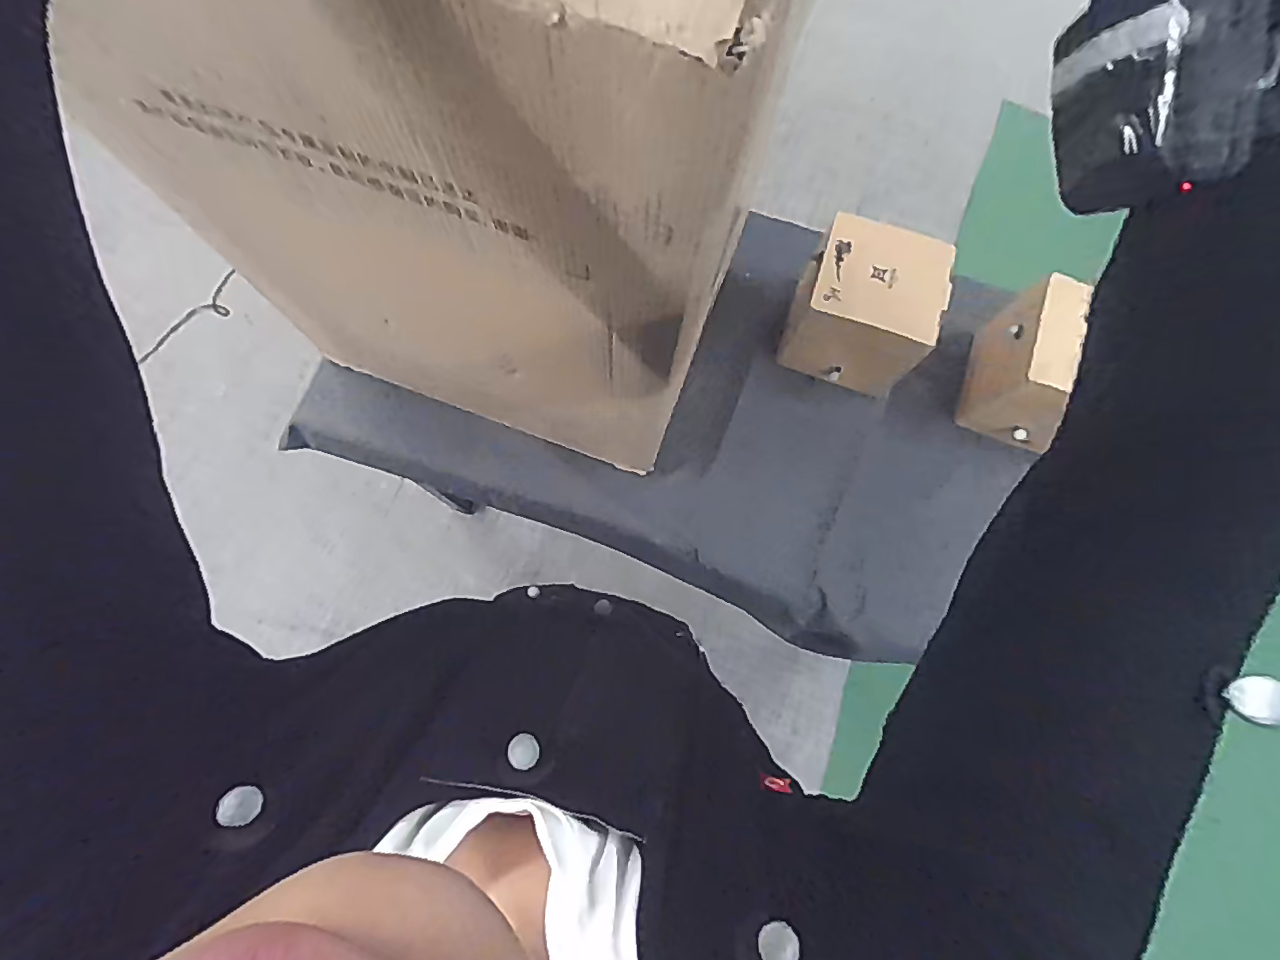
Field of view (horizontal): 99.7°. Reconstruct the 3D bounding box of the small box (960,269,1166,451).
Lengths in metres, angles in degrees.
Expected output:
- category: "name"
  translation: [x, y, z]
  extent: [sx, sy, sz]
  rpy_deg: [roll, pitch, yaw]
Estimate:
- category: "small box"
  translation: [0.612, -0.168, 0.801]
  extent: [0.168, 0.176, 0.179]
  rpy_deg: [21, 76, 4]
